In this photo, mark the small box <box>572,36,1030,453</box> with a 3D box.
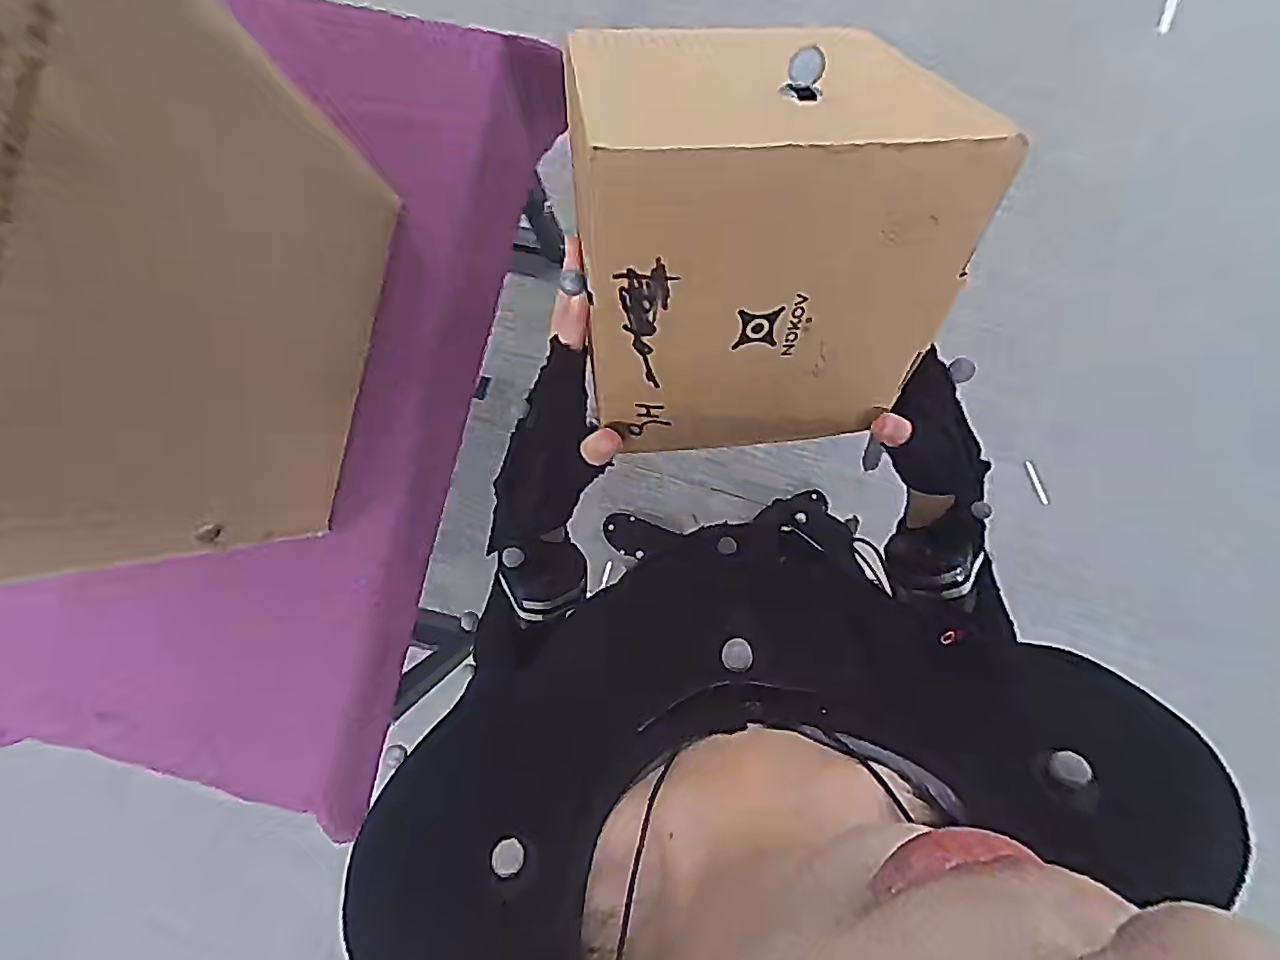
[{"bbox_3d":[0.057,-0.137,0.316,0.179,0.168,0.176,-5,50,-6],"label":"small box"}]
